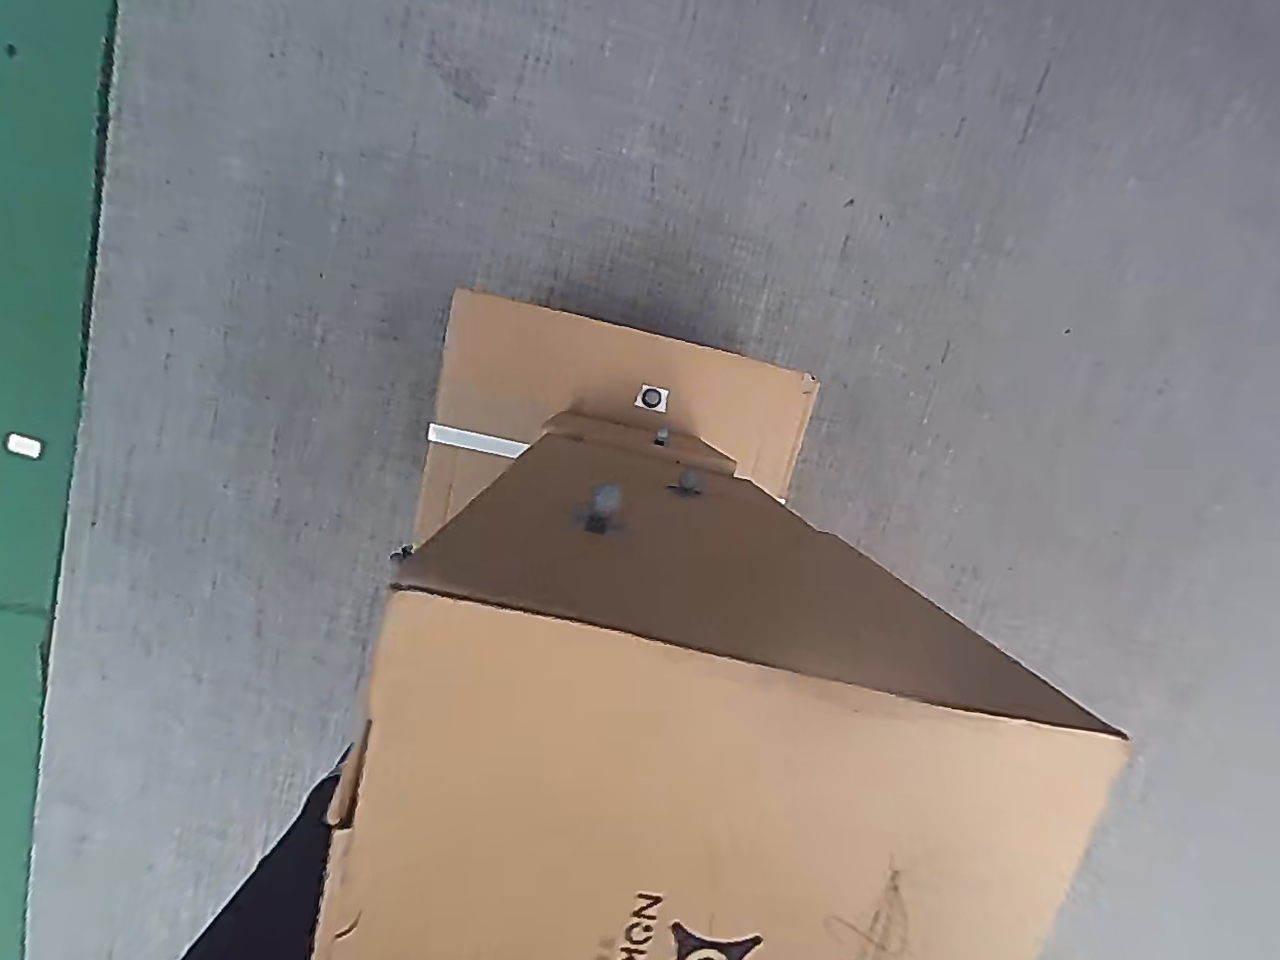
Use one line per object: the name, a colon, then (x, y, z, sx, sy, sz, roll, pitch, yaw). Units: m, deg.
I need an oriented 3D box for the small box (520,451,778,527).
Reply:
small box: (-0.008, 0.081, 0.374, 0.179, 0.176, 0.168, 10, 100, -5)

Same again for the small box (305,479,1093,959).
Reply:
small box: (0.003, 0.104, 0.214, 0.179, 0.176, 0.168, 13, 101, -6)

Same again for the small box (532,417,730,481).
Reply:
small box: (-0.023, 0.043, 0.533, 0.168, 0.176, 0.179, 11, 101, -4)
